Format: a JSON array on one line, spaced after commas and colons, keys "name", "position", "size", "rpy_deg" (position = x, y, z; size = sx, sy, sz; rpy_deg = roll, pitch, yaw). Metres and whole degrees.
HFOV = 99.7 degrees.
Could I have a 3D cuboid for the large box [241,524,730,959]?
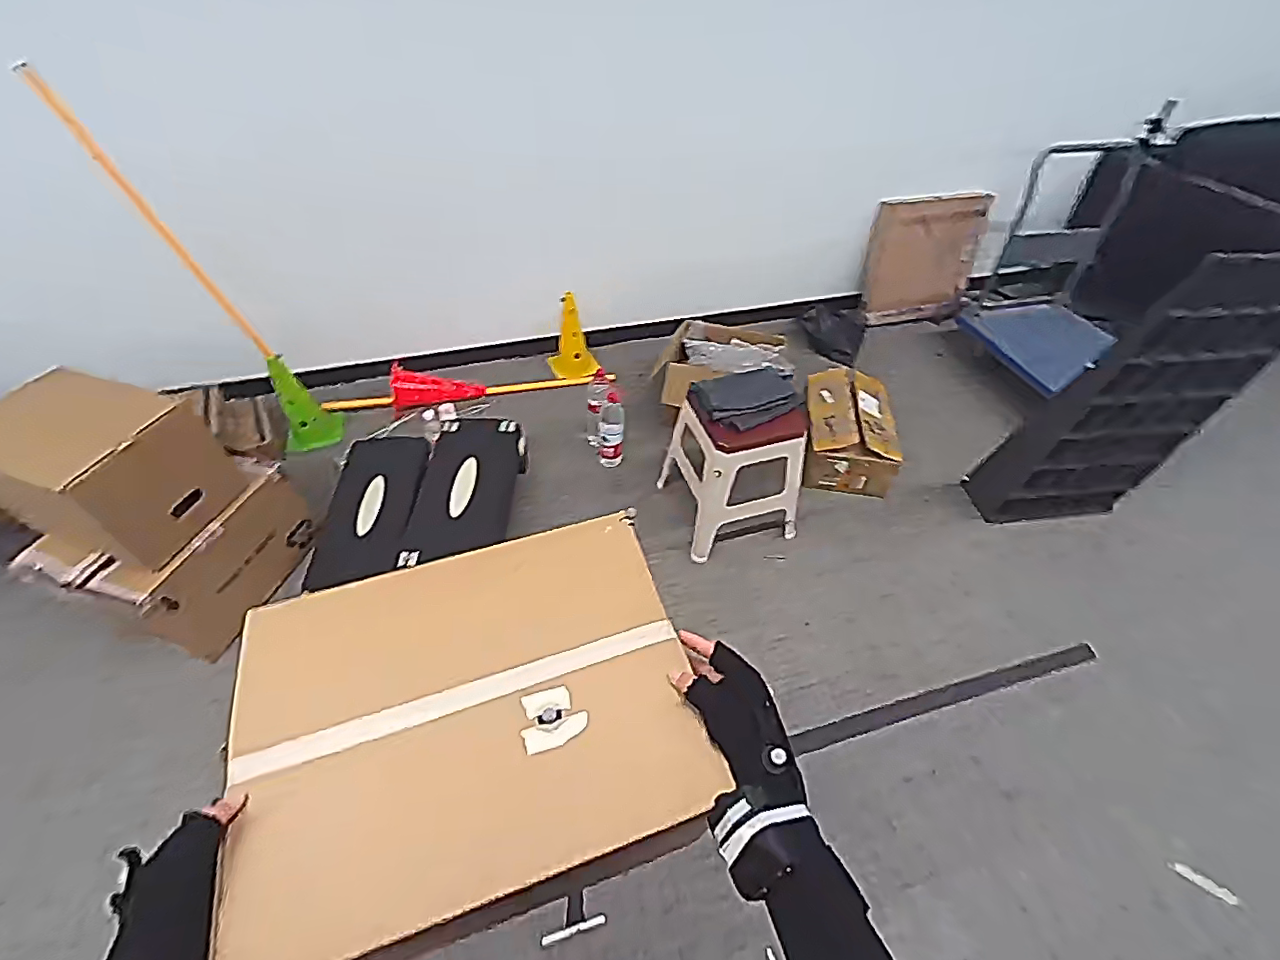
[{"name": "large box", "position": [-0.158, 0.306, 0.636], "size": [0.408, 0.320, 0.320], "rpy_deg": [-14, 53, -13]}]
